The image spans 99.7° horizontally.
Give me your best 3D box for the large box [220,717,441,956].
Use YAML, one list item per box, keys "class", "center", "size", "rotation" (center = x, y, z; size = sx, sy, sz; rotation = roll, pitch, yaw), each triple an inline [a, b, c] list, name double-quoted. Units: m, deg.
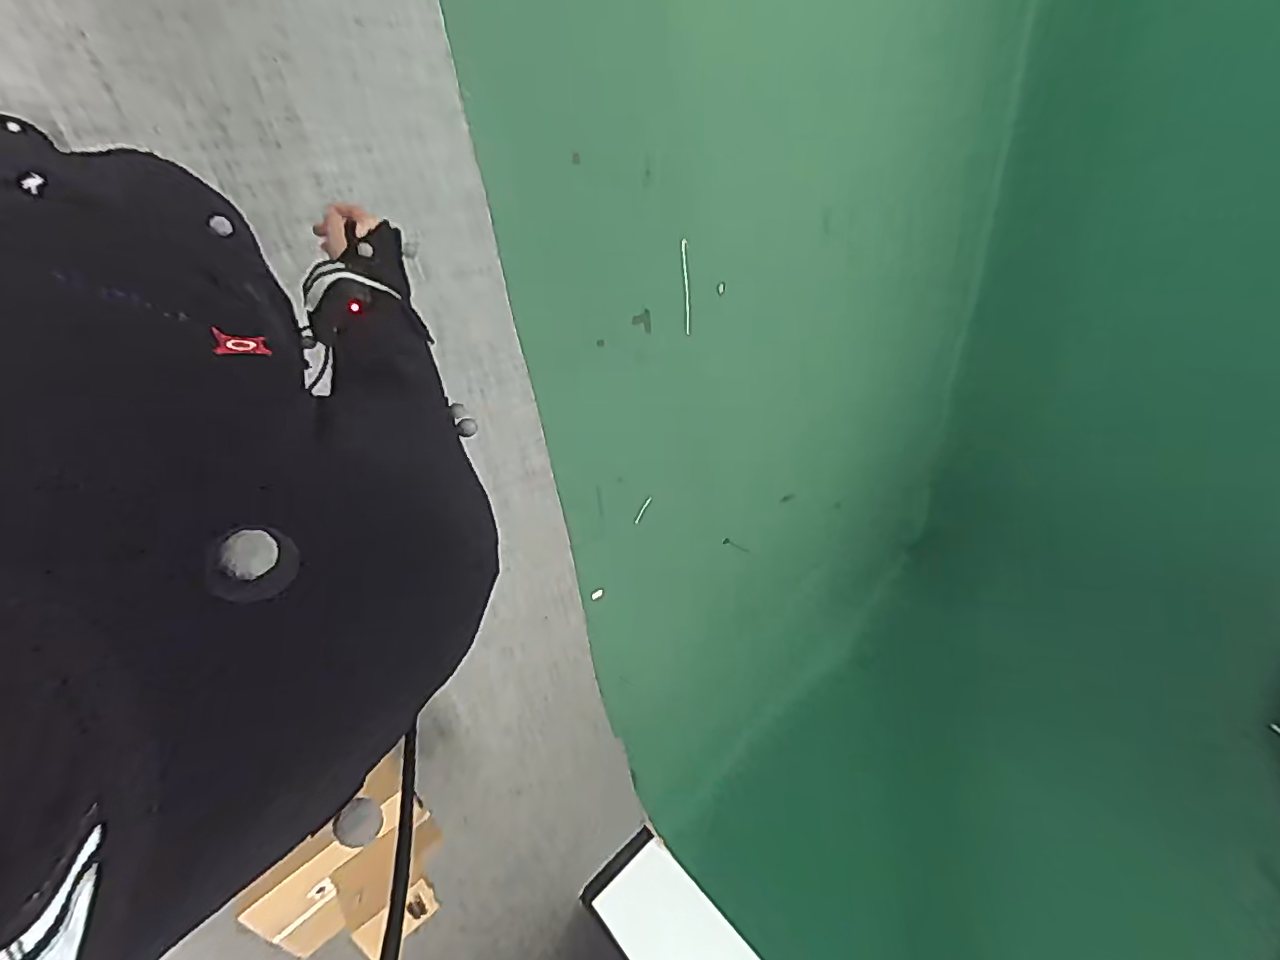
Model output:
- class: "large box"
  center: [-0.843, 0.961, 1.497]
  size: [0.408, 0.320, 0.320]
  rotation: [-32, 129, -28]
